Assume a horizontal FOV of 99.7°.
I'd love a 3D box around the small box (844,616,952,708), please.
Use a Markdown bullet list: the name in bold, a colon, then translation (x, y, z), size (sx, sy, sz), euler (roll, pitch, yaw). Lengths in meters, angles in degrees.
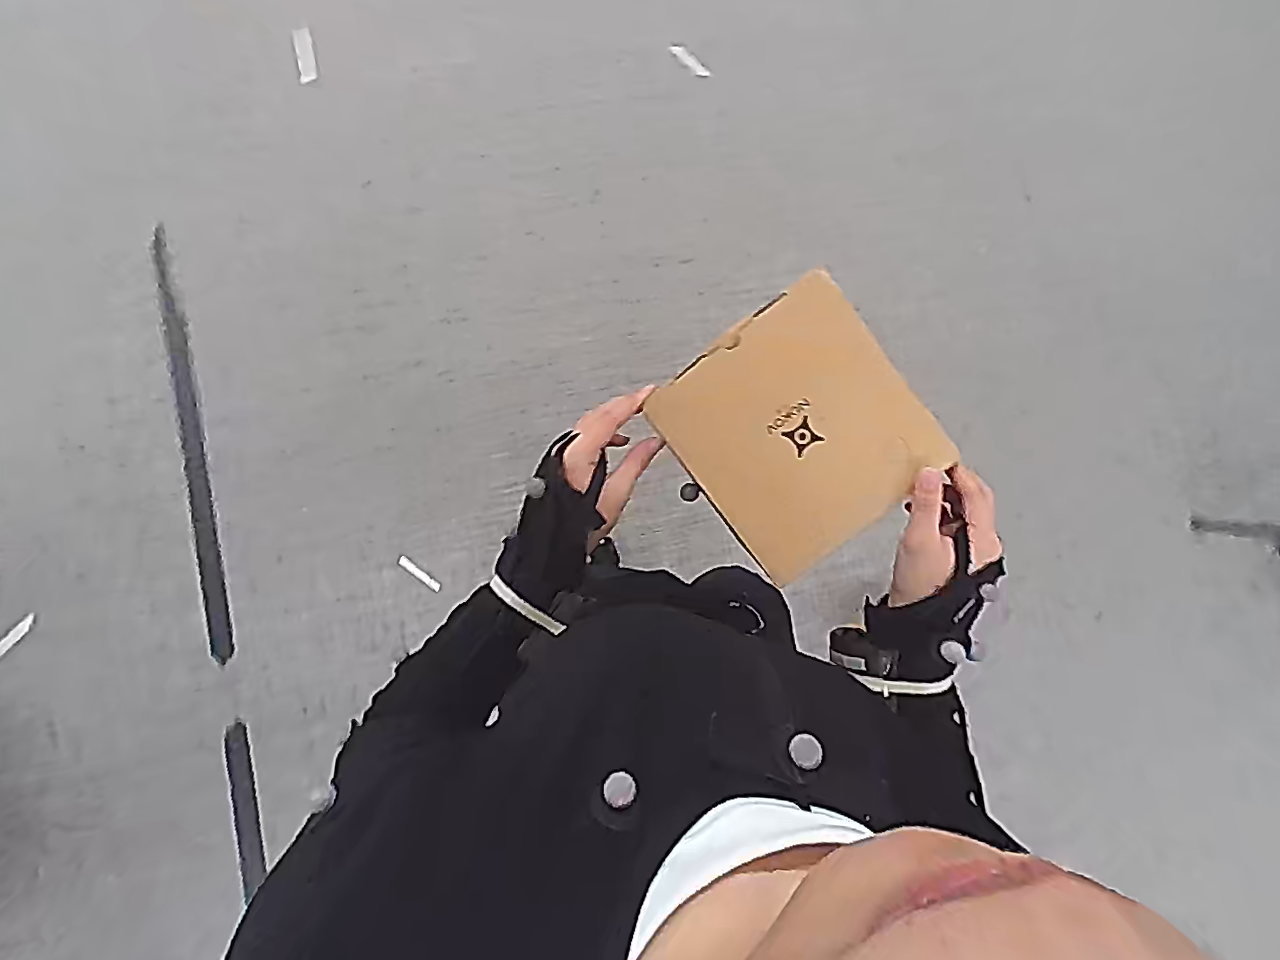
- **small box**: translation (0.638, 0.451, 1.365), size (0.179, 0.176, 0.168), euler (-10, 87, -10)
